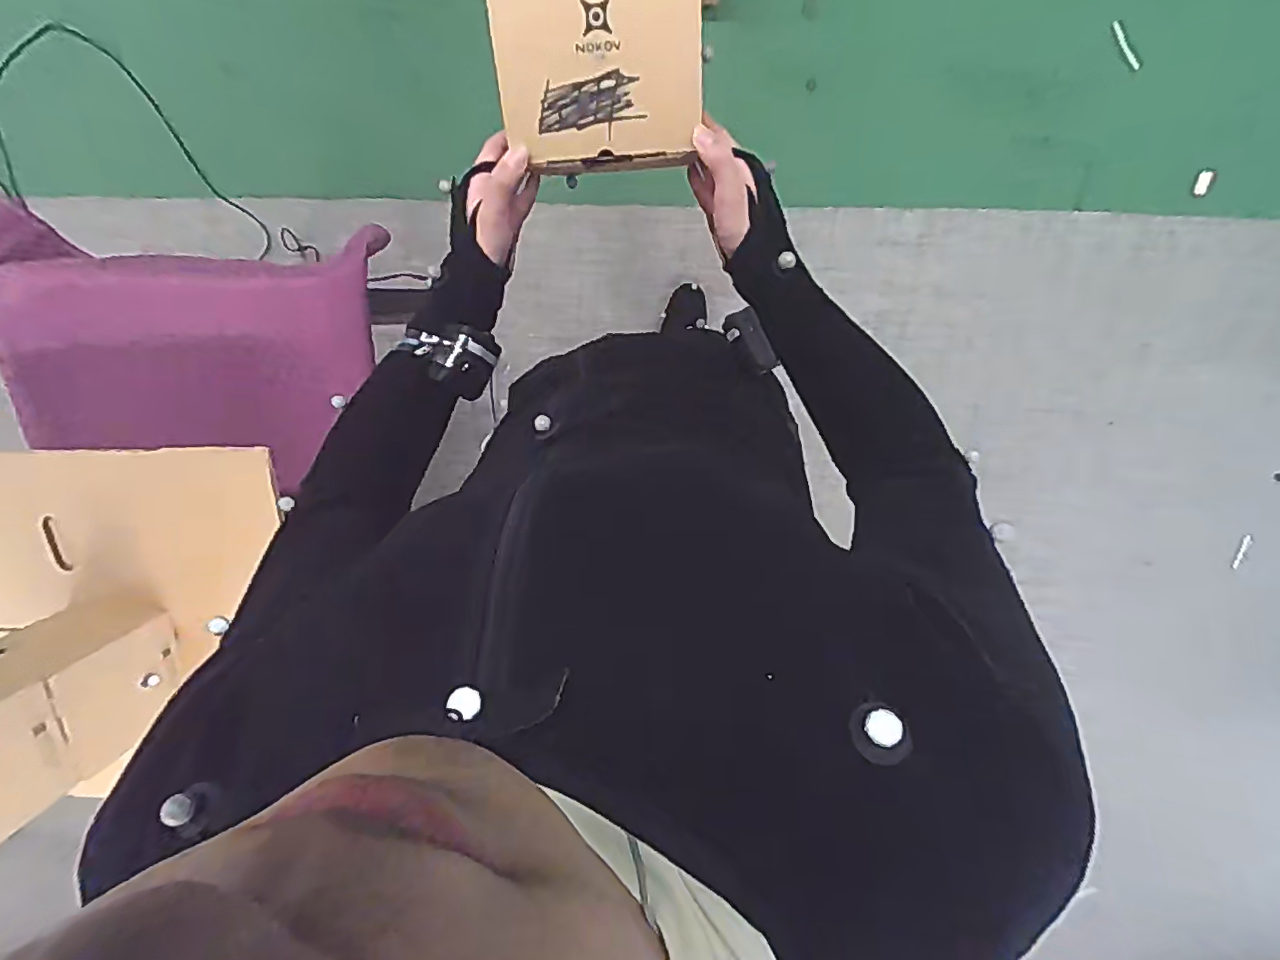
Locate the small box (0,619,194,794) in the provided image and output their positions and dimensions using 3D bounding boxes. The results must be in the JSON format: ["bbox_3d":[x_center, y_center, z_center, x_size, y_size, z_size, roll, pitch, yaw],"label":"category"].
[{"bbox_3d":[-0.807,0.314,0.778,0.179,0.176,0.168,1,106,4],"label":"small box"}]

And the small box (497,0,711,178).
[{"bbox_3d":[-0.024,-0.379,0.490,0.168,0.176,0.179,-3,116,3],"label":"small box"}]
